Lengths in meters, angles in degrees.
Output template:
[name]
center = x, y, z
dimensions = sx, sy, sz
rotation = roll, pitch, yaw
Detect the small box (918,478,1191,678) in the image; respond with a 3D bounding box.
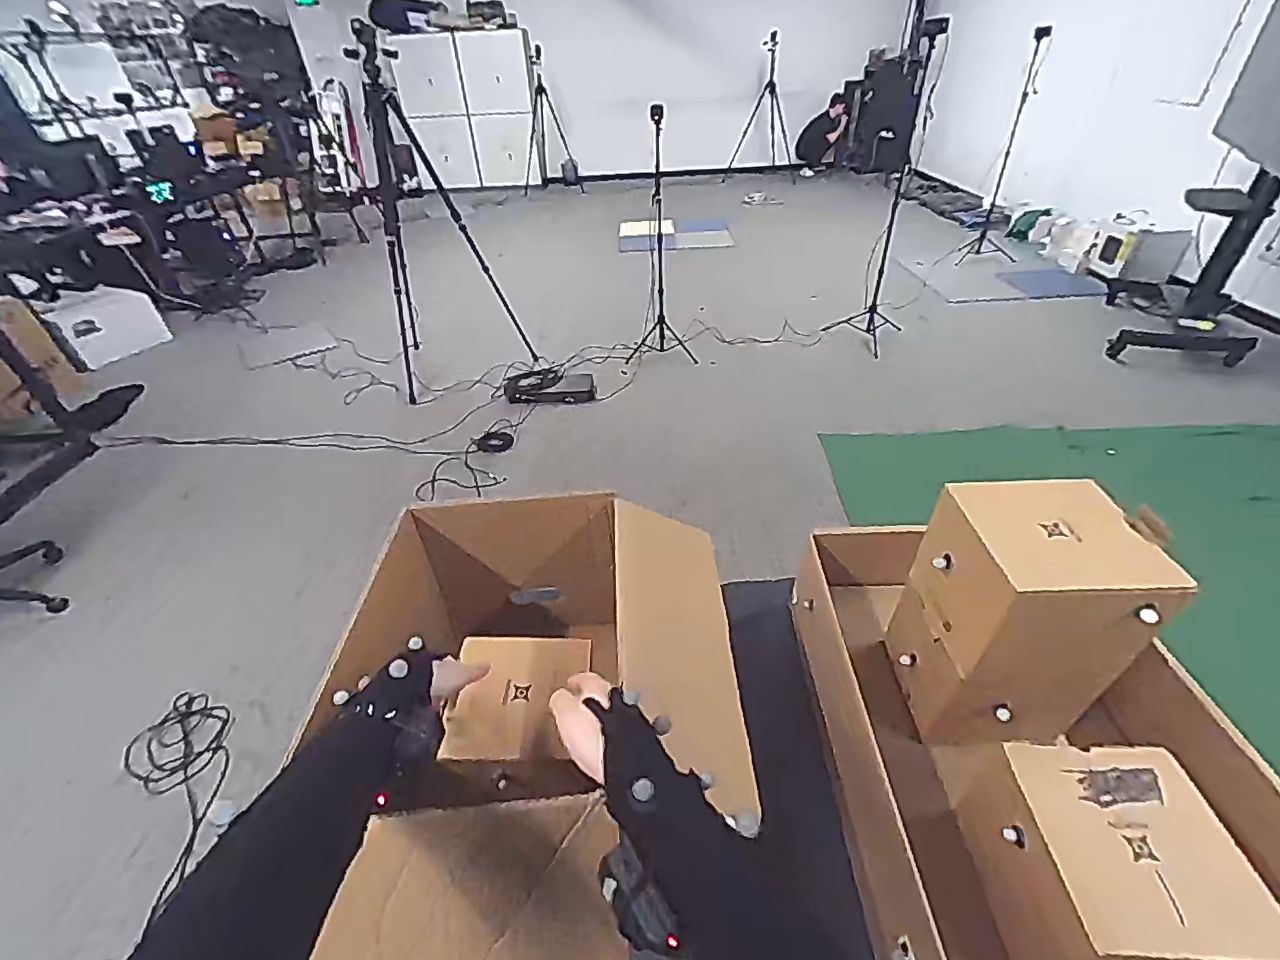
[small box]
center = 0.451, 0.115, 0.634
dimensions = 0.179, 0.176, 0.168
rotation = -2, 40, 1
